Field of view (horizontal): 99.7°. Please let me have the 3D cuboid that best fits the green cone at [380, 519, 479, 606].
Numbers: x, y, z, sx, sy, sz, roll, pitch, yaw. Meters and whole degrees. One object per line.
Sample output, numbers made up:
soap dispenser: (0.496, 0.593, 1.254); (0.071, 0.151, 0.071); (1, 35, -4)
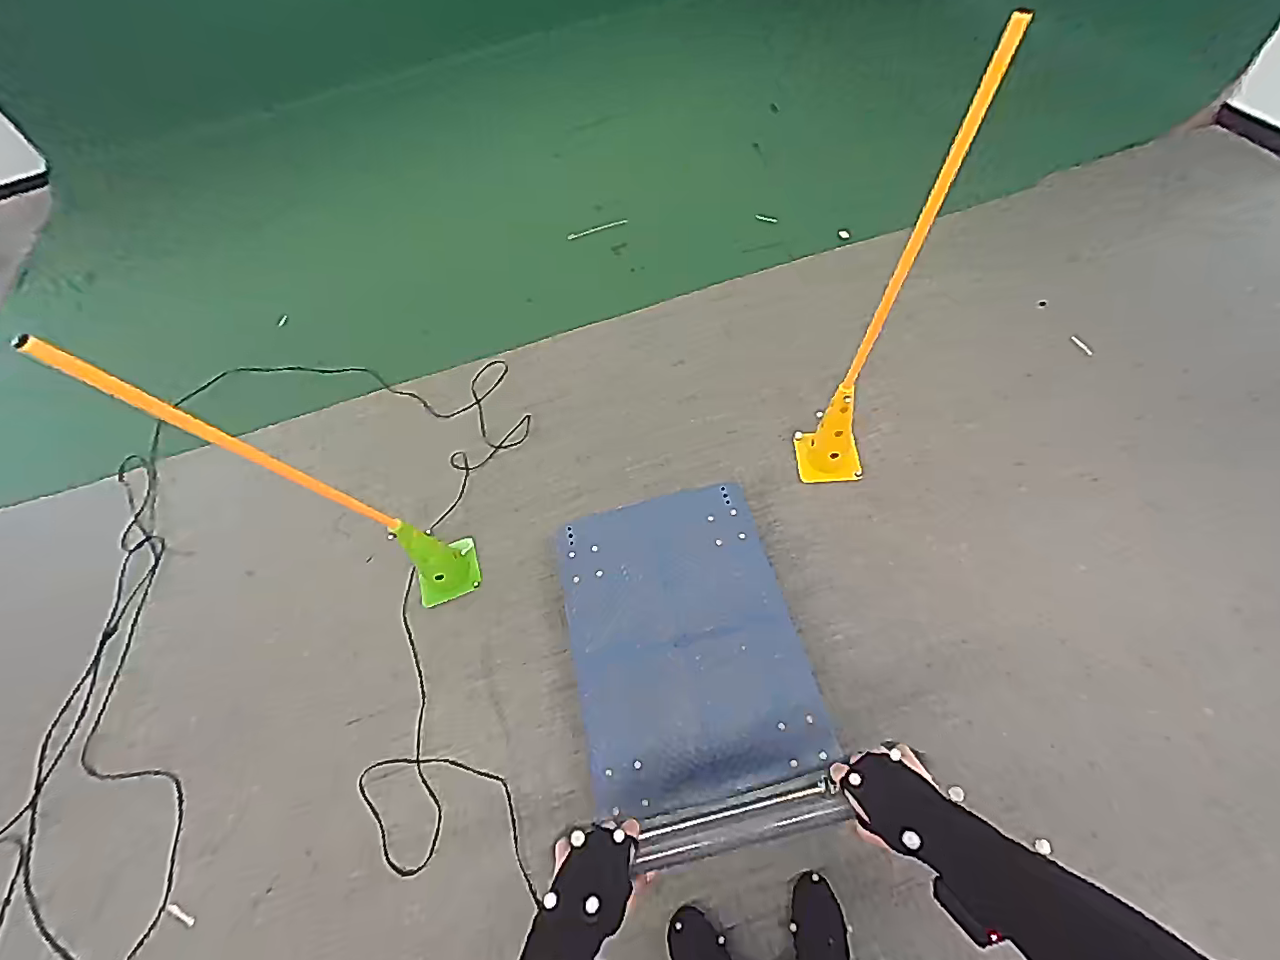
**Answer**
green cone: (-0.669, 0.211, 1.646); (0.202, 0.368, 0.200); (-22, 58, -3)
